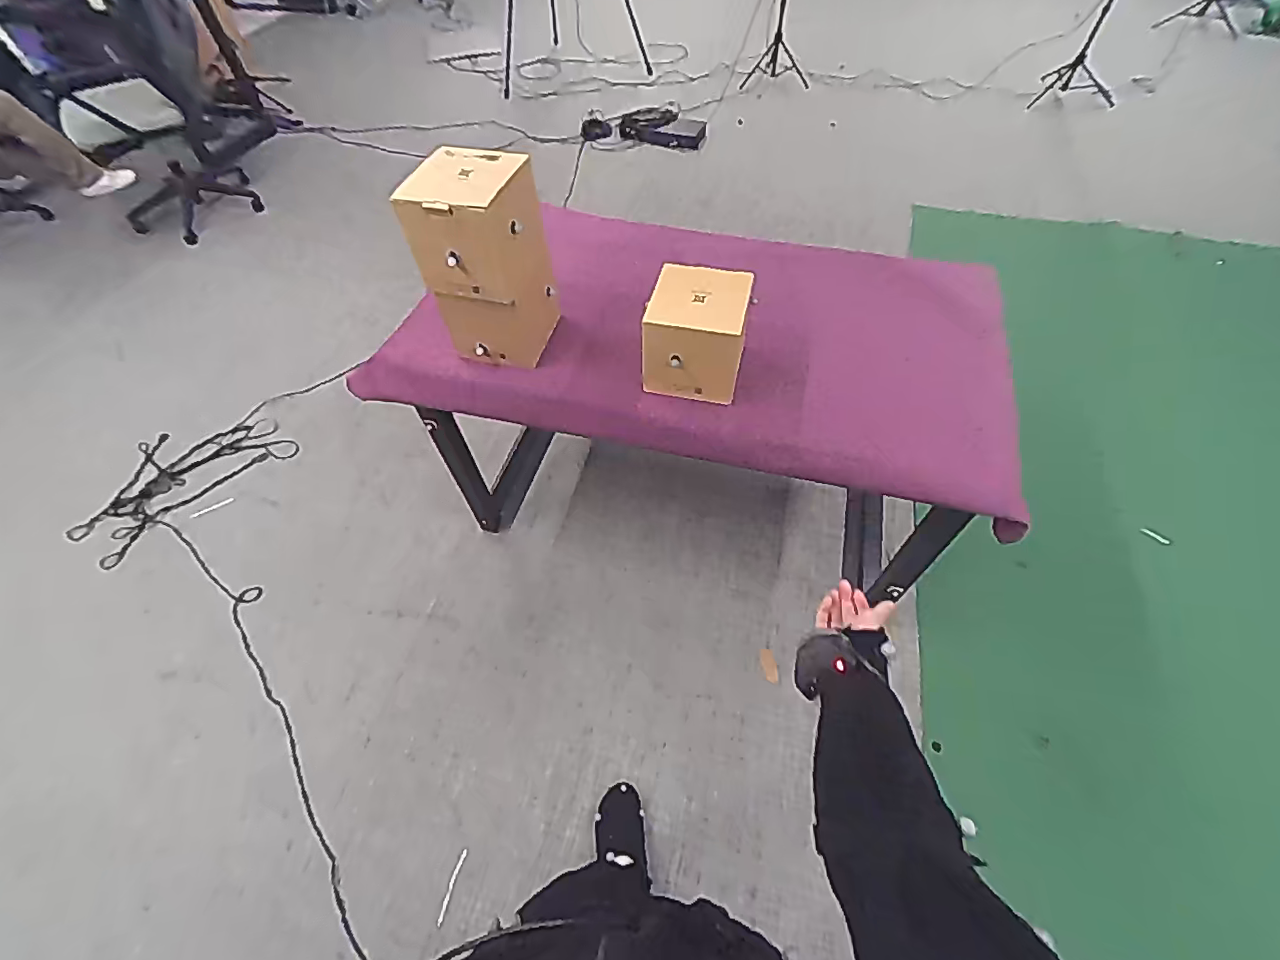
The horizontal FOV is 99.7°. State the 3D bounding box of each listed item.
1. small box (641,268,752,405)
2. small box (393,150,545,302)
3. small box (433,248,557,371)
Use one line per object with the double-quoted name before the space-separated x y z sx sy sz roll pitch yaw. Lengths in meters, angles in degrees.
"small box" 0.104 -0.260 0.993 0.168 0.176 0.179 11 54 9
"small box" -0.276 -0.429 0.922 0.168 0.176 0.179 12 57 10
"small box" -0.270 -0.343 1.061 0.168 0.176 0.179 11 56 10
